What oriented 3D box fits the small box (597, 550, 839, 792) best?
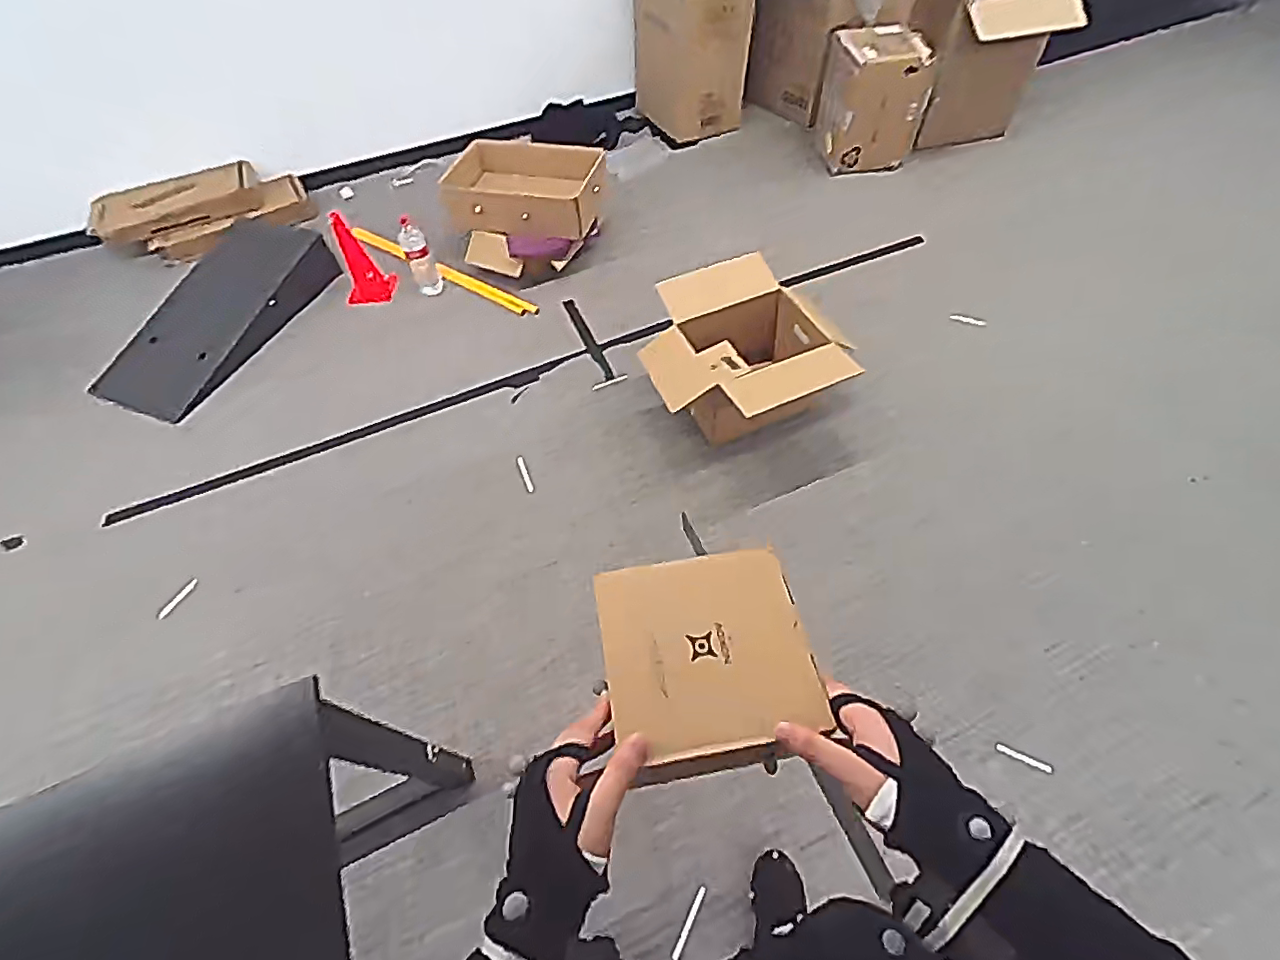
[{"bbox_3d":[0.060,0.189,0.525,0.179,0.176,0.168,-10,55,-5],"label":"small box"}]
